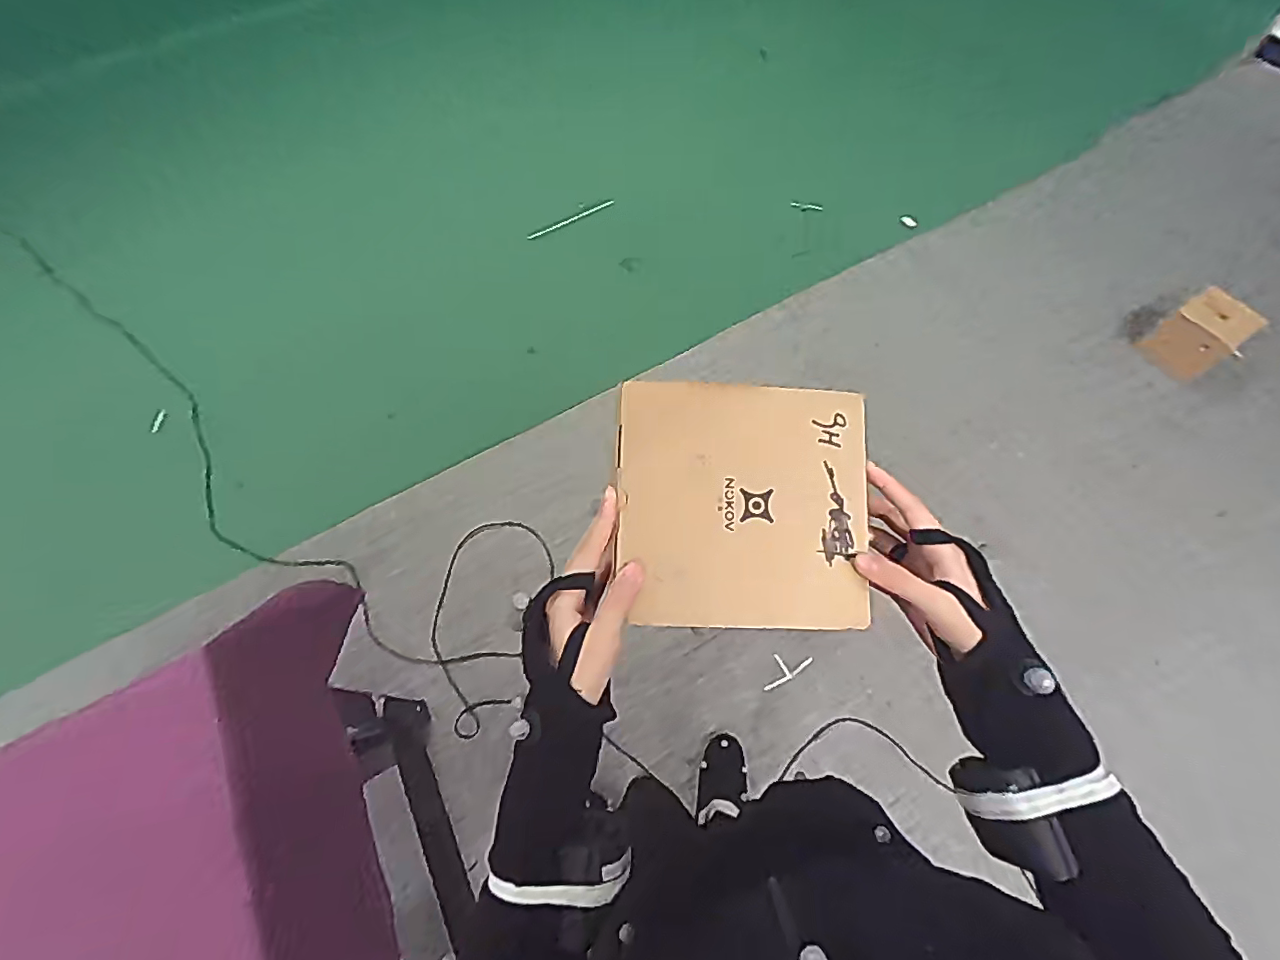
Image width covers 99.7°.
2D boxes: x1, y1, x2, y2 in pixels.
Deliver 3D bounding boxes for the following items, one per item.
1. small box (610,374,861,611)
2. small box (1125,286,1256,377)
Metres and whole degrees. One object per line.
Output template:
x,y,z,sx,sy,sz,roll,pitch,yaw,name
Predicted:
0.066,0.019,0.461,0.179,0.176,0.168,3,81,-3,small box
1.641,-0.436,1.624,0.168,0.176,0.179,-32,65,-11,small box
